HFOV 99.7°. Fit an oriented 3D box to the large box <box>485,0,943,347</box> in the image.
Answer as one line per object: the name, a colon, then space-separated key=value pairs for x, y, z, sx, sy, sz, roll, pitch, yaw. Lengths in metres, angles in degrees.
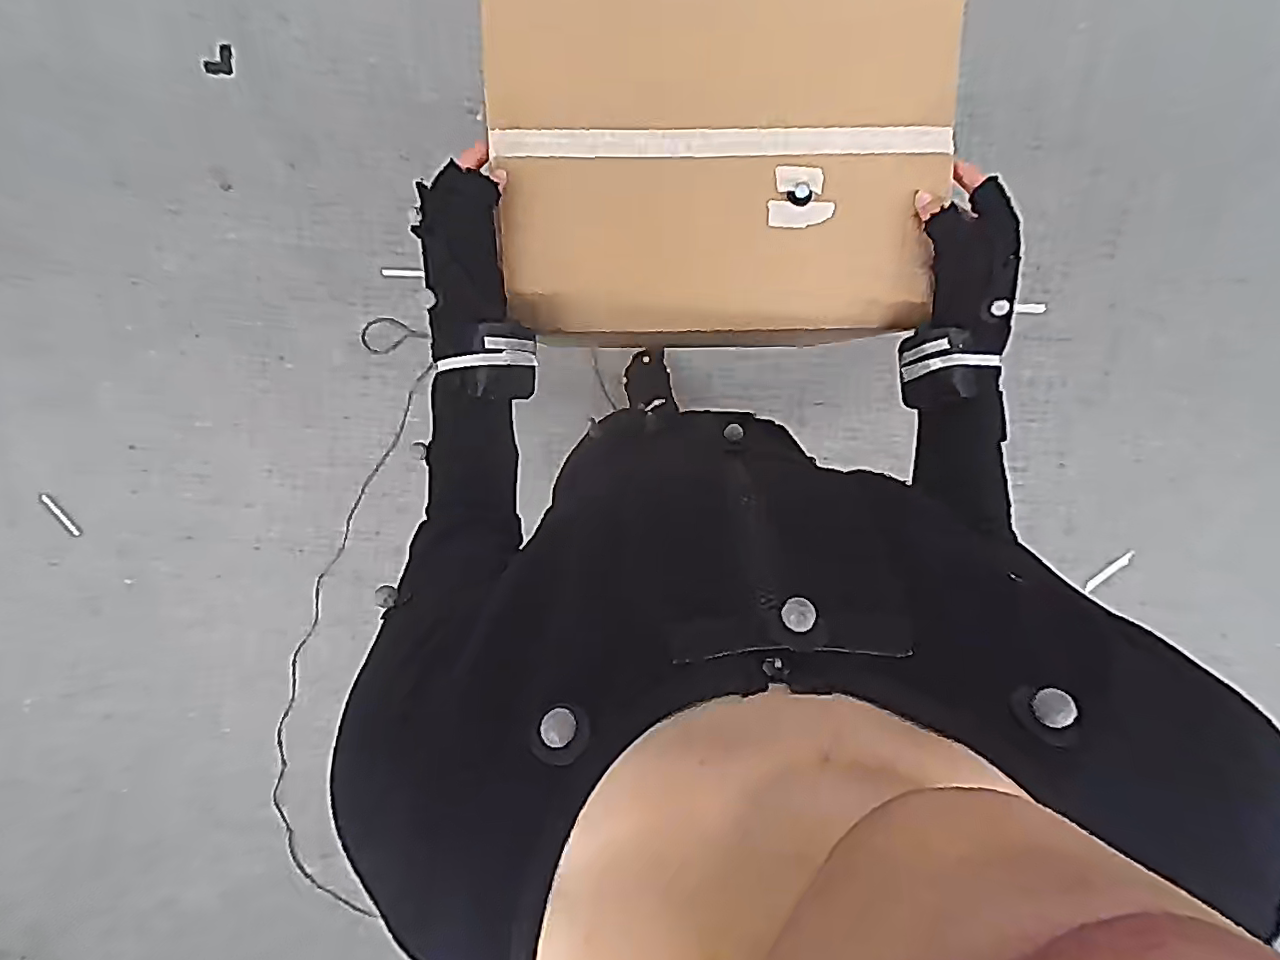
large box: x=0.062 y=-0.329 z=0.630 sx=0.408 sy=0.320 sz=0.320 roll=-1 pitch=101 yaw=-2
